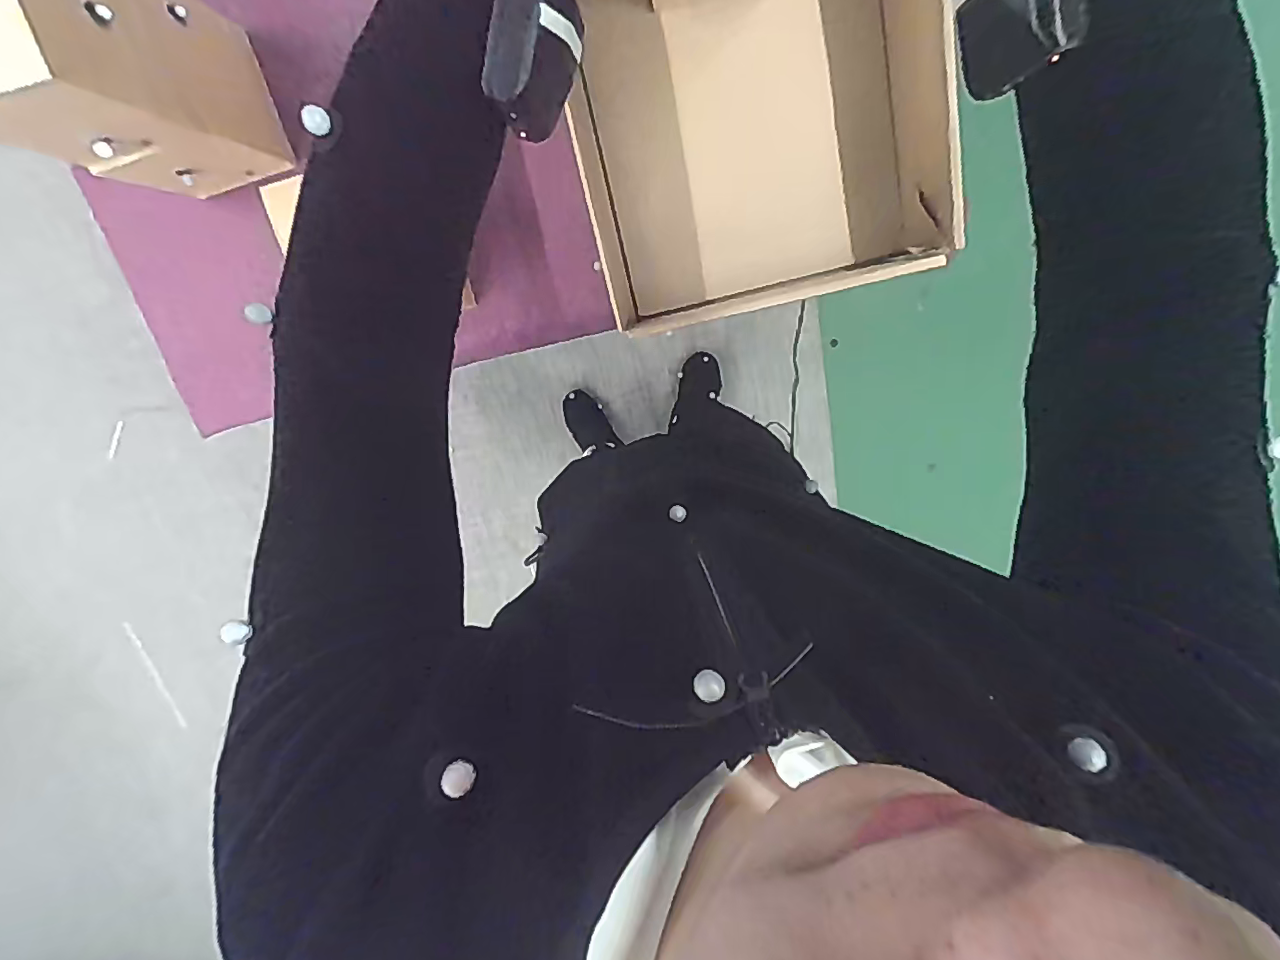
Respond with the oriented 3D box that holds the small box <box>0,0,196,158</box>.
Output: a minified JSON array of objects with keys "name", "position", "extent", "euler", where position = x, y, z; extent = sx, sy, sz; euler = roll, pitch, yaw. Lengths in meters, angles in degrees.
[{"name":"small box","position":[-0.606,-0.450,0.534],"extent":[0.168,0.176,0.179],"euler":[-9,107,6]}]

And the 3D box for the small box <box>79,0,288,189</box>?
[{"name":"small box","position":[-0.602,-0.494,0.693],"extent":[0.168,0.176,0.179],"euler":[-13,105,7]}]
